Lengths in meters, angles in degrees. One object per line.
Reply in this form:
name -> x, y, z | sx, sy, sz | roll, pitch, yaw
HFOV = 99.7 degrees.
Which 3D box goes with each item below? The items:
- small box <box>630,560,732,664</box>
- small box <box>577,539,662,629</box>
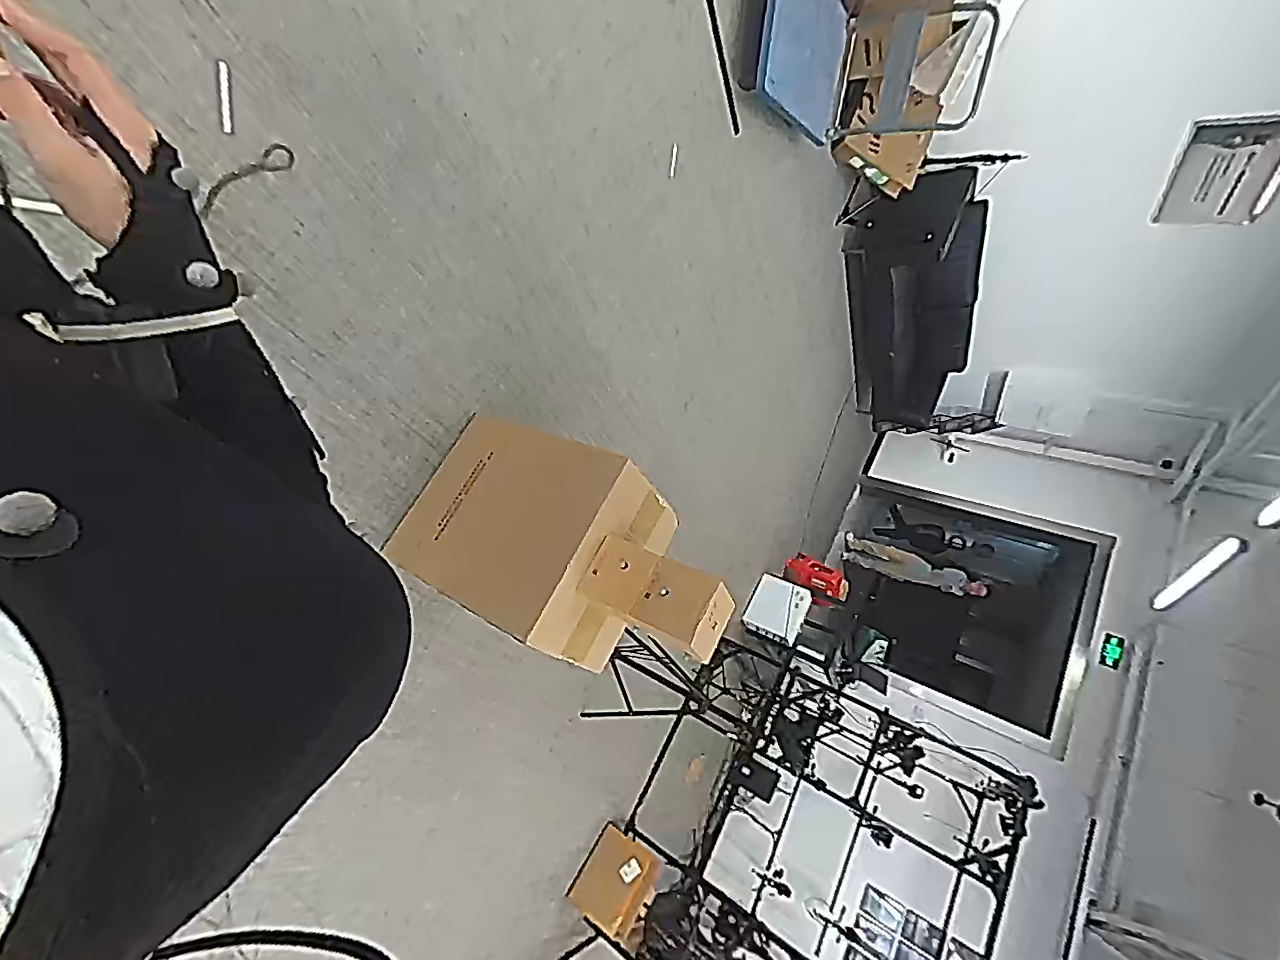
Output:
small box -> 0.102, 0.317, 1.313 | 0.168, 0.176, 0.179 | -60, 147, -21
small box -> -0.035, 0.269, 1.394 | 0.168, 0.176, 0.179 | -61, 147, -19
